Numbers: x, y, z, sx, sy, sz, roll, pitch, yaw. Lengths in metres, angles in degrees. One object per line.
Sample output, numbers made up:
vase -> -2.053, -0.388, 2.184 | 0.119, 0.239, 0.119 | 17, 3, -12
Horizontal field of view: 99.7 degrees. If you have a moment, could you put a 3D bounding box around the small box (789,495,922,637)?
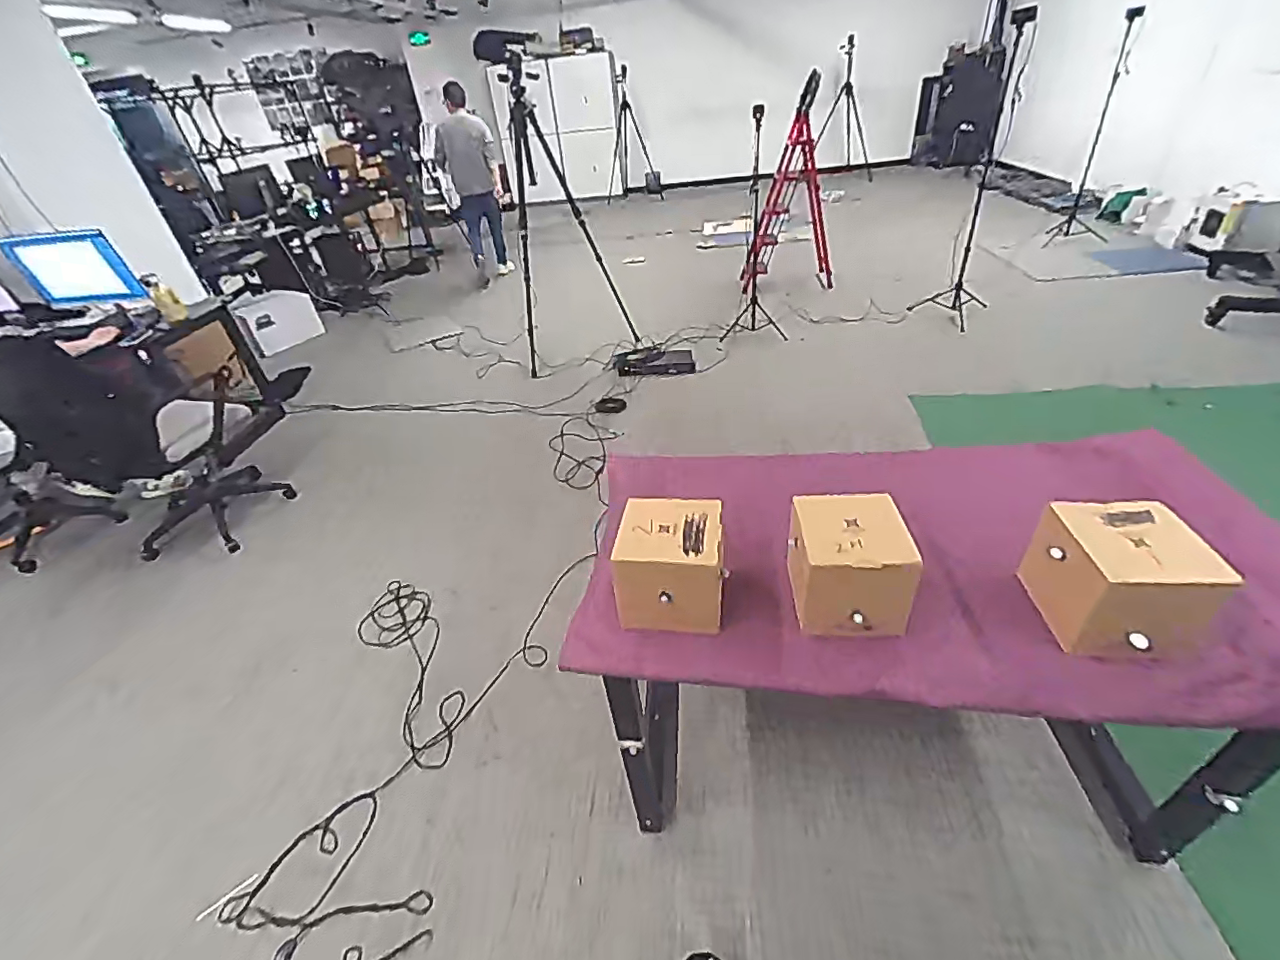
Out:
small box -> 0.353, 0.143, 0.923 | 0.168, 0.176, 0.179 | -3, 35, 7

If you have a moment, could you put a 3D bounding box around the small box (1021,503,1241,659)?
small box -> 0.741, 0.153, 0.847 | 0.168, 0.176, 0.179 | -2, 37, 8
